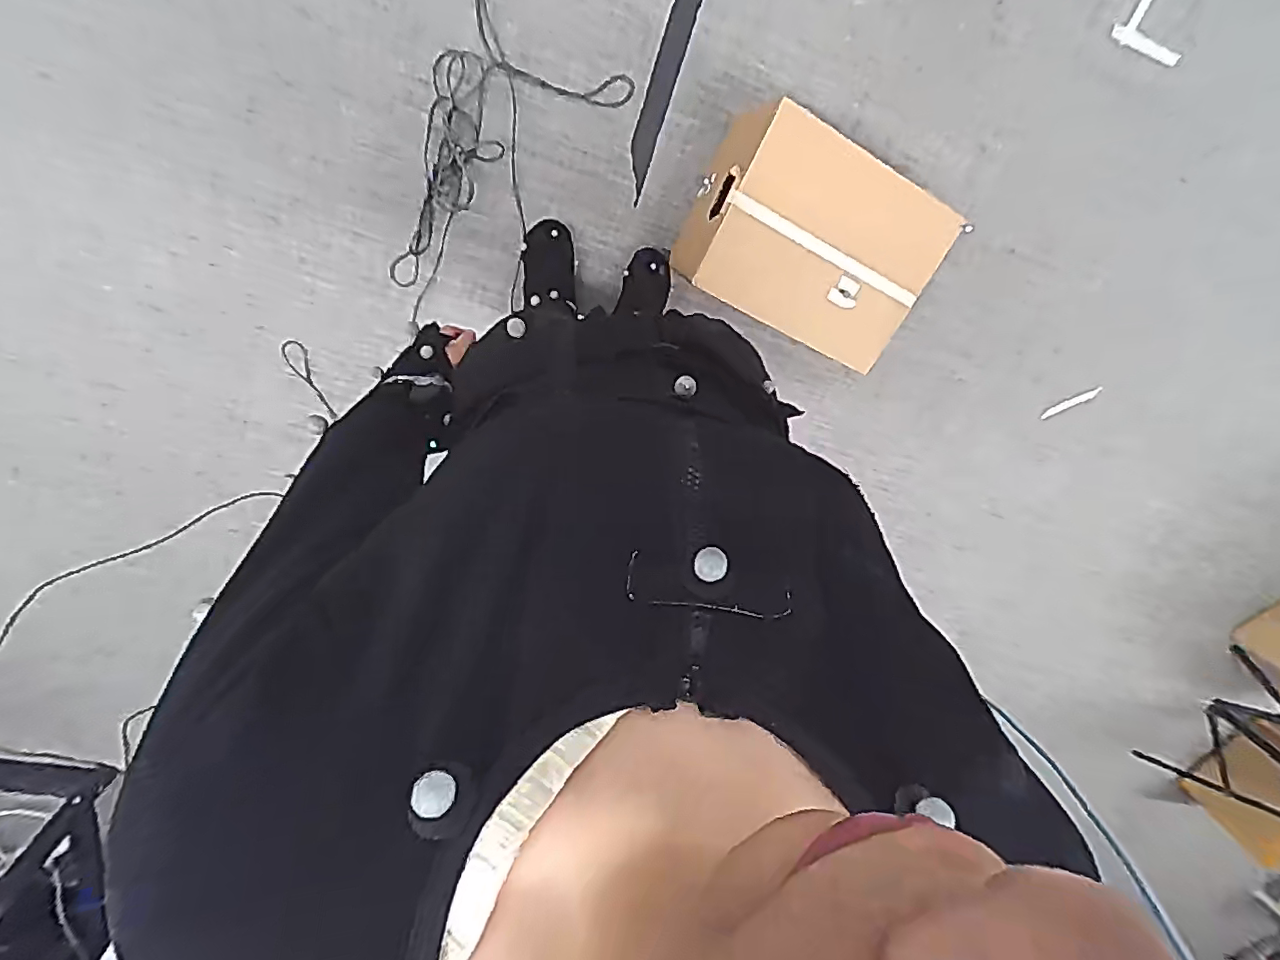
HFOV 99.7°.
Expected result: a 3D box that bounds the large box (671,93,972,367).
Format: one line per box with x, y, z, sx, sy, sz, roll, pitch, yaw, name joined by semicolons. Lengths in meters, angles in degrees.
0.321;-0.475;1.070;0.408;0.320;0.320;21;114;-17;large box
